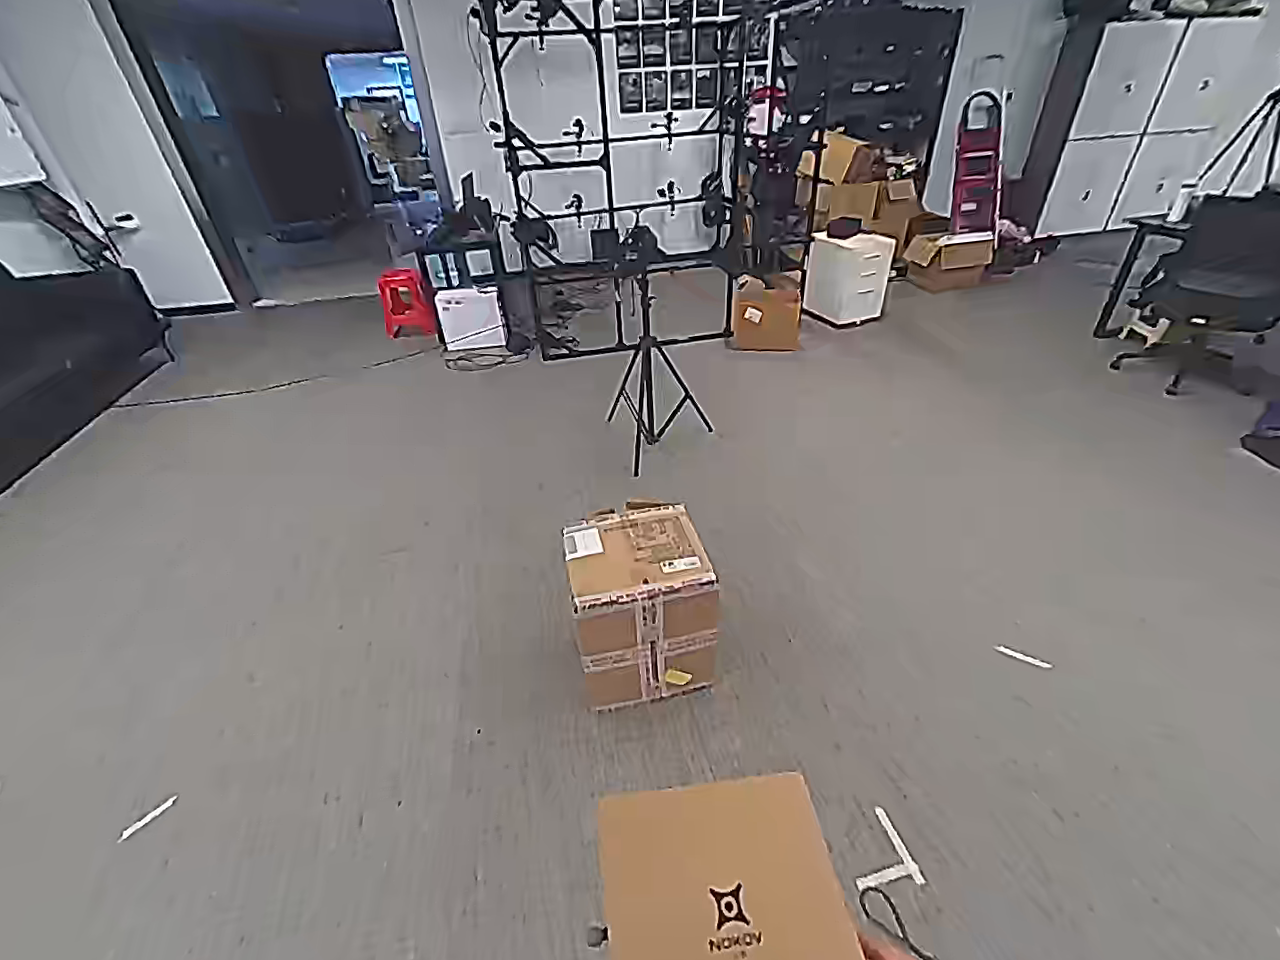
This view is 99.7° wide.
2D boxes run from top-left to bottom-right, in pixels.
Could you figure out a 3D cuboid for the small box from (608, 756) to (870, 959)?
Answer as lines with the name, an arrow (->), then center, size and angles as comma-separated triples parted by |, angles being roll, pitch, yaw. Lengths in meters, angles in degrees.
small box -> 0.061, 0.352, 0.430 | 0.168, 0.176, 0.179 | -4, 42, -7
